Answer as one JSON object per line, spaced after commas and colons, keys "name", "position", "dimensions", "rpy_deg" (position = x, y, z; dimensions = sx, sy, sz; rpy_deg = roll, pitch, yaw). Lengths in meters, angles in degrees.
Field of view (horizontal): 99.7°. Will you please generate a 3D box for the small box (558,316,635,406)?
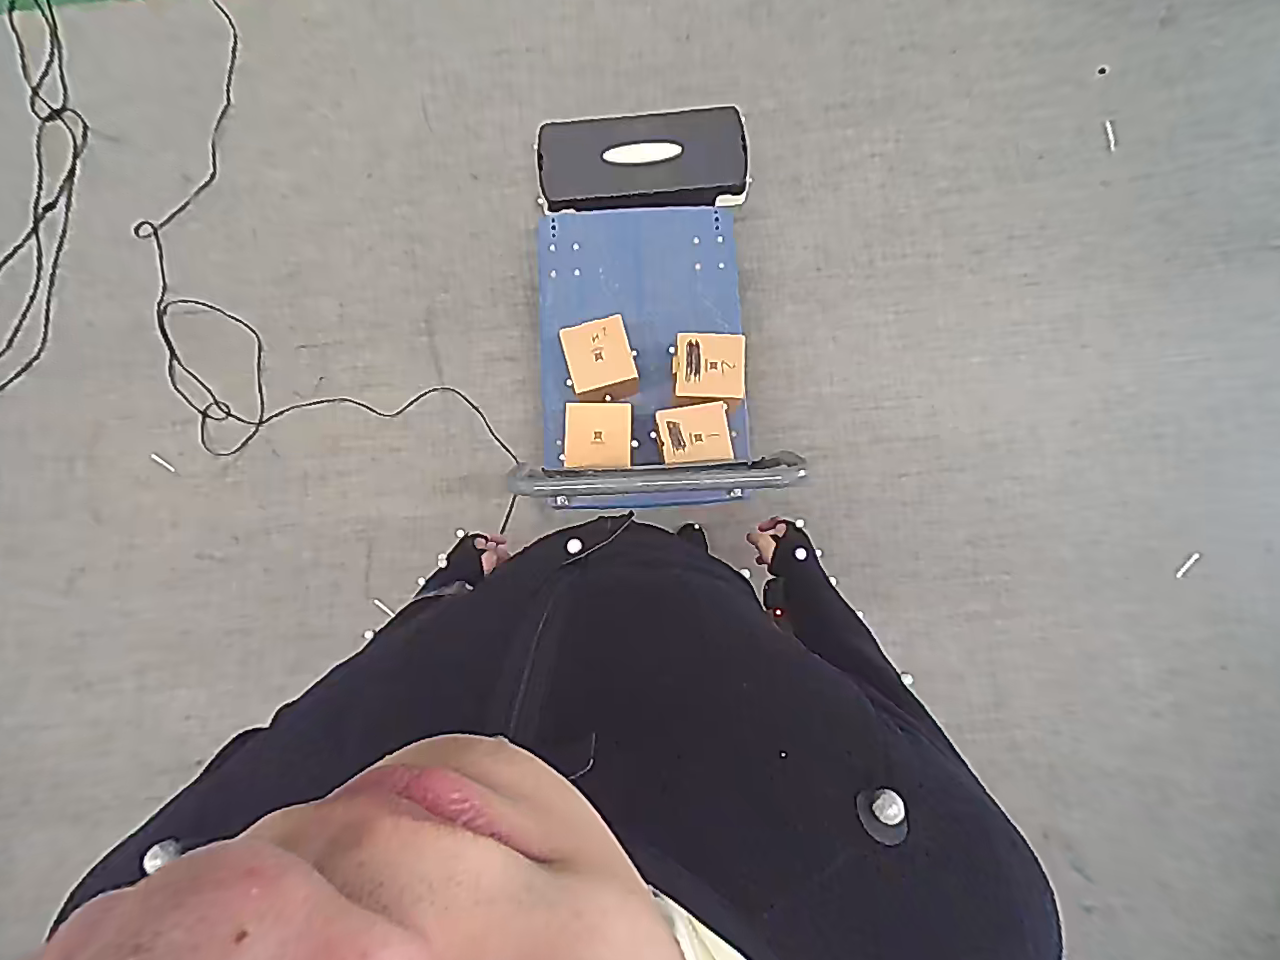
{"name": "small box", "position": [-0.111, -0.308, 1.443], "dimensions": [0.168, 0.176, 0.179], "rpy_deg": [-15, 84, -3]}
